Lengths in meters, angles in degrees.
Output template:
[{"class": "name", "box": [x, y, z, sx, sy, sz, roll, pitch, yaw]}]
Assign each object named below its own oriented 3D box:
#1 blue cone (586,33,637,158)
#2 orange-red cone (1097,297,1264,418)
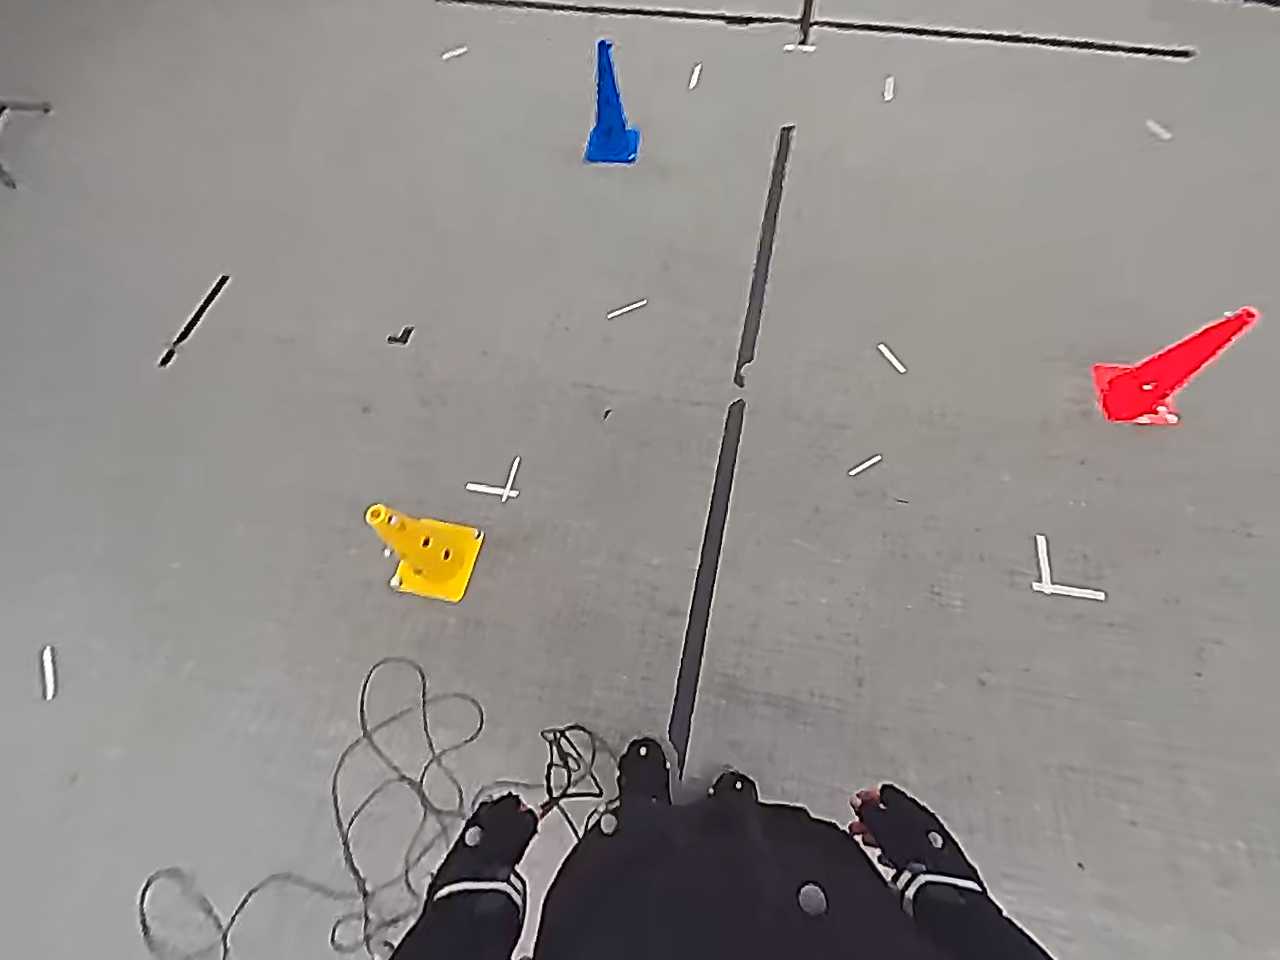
[{"class": "blue cone", "box": [-0.116, -1.392, 1.957, 0.192, 0.380, 0.193, 5, 67, 5]}, {"class": "orange-red cone", "box": [1.454, -0.346, 1.431, 0.198, 0.360, 0.199, 6, 65, 4]}]
